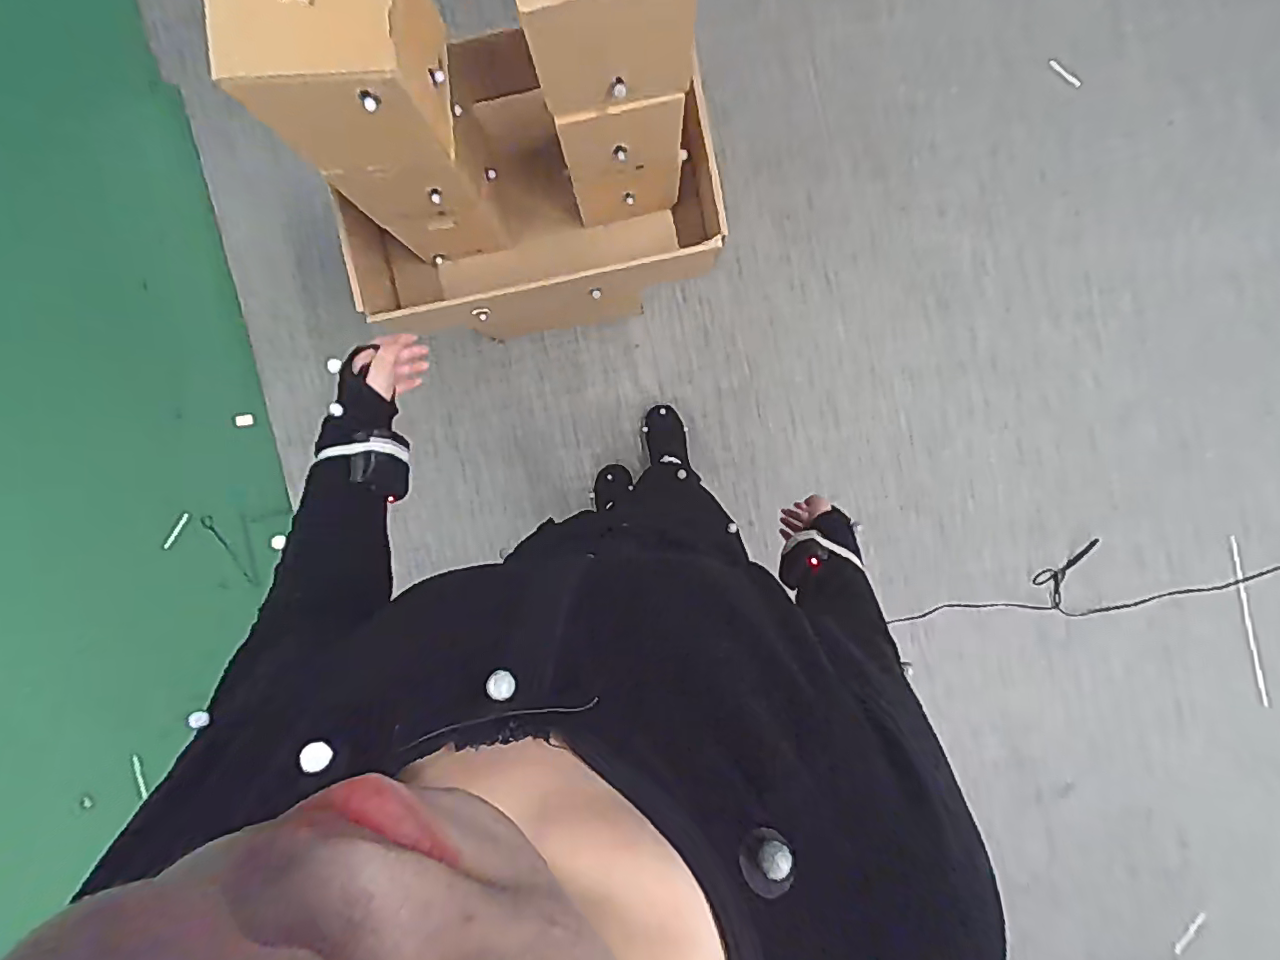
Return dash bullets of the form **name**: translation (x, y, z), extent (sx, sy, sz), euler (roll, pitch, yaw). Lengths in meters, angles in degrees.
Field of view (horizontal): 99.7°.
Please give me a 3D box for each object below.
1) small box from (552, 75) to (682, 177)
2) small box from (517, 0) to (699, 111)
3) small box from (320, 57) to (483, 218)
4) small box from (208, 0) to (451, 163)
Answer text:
- **small box**: translation (-0.038, -0.543, 0.738), extent (0.168, 0.176, 0.179), euler (-10, 94, 2)
- **small box**: translation (-0.040, -0.534, 0.574), extent (0.179, 0.176, 0.168), euler (-10, 94, 2)
- **small box**: translation (-0.327, -0.485, 0.751), extent (0.168, 0.176, 0.179), euler (-6, 93, 1)
- **small box**: translation (-0.324, -0.471, 0.589), extent (0.179, 0.176, 0.168), euler (-3, 93, -1)
